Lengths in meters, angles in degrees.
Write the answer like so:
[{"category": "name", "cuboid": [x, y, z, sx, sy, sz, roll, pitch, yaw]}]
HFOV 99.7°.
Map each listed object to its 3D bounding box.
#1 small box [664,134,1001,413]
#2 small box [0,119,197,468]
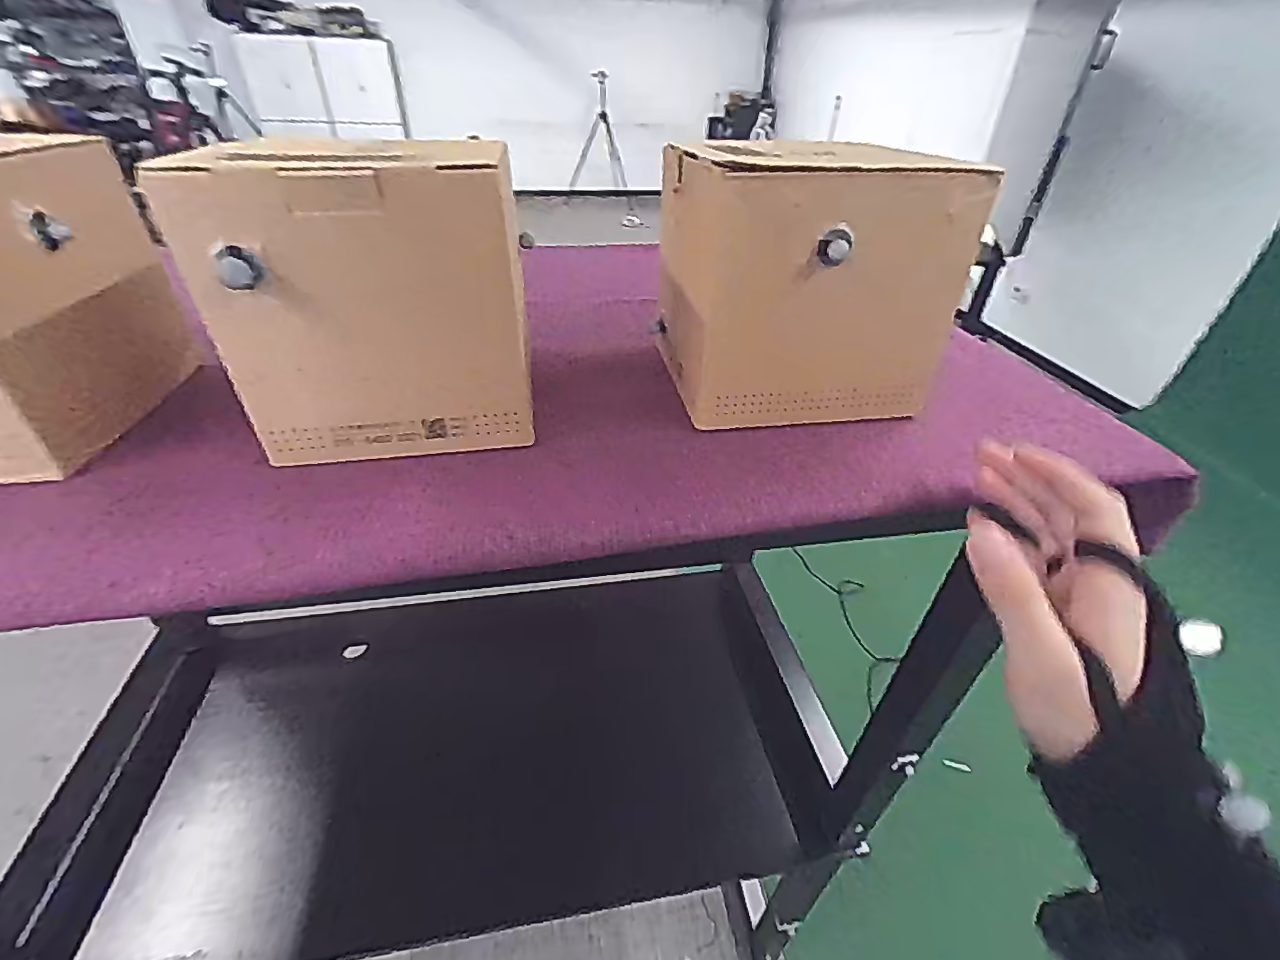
[{"category": "small box", "cuboid": [0.116, -0.161, 0.415, 0.179, 0.176, 0.168, -4, 36, -8]}, {"category": "small box", "cuboid": [-0.428, -0.117, 0.333, 0.168, 0.176, 0.179, -3, 36, -8]}]
